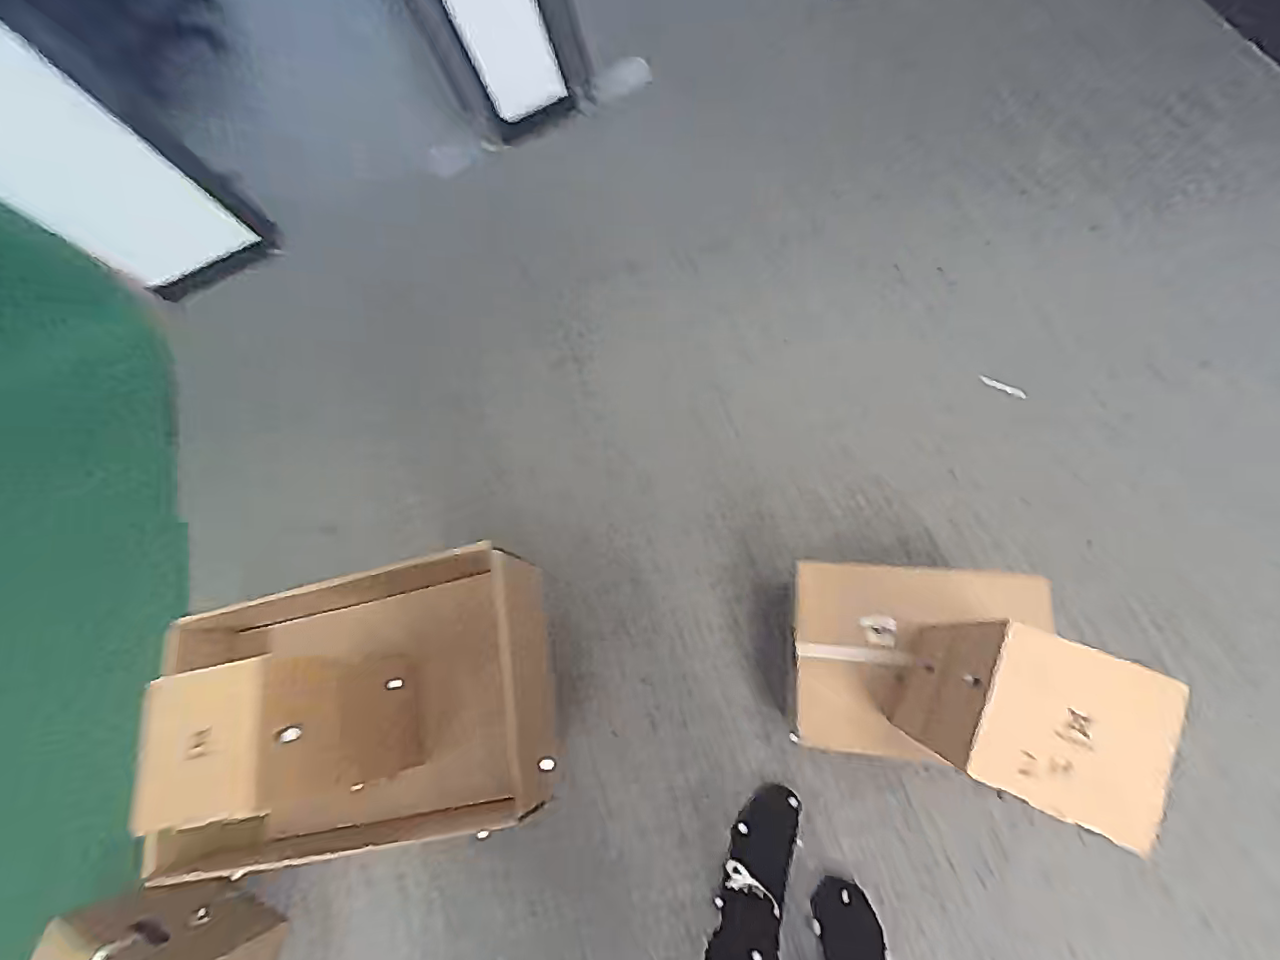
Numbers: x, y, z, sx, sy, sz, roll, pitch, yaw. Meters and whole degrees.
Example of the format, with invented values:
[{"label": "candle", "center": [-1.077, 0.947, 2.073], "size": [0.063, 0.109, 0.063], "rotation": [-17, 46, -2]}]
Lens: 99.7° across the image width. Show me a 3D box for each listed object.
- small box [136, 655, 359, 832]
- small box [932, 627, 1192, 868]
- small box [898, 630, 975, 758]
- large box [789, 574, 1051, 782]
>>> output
[{"label": "small box", "center": [-0.499, 0.336, 0.716], "size": [0.168, 0.176, 0.179], "rotation": [-13, 70, 9]}, {"label": "small box", "center": [0.466, 0.287, 0.628], "size": [0.168, 0.176, 0.179], "rotation": [21, 79, 18]}, {"label": "small box", "center": [0.498, 0.336, 0.783], "size": [0.168, 0.176, 0.179], "rotation": [22, 79, 18]}, {"label": "large box", "center": [0.502, 0.365, 1.037], "size": [0.408, 0.320, 0.320], "rotation": [2, 71, 14]}]
